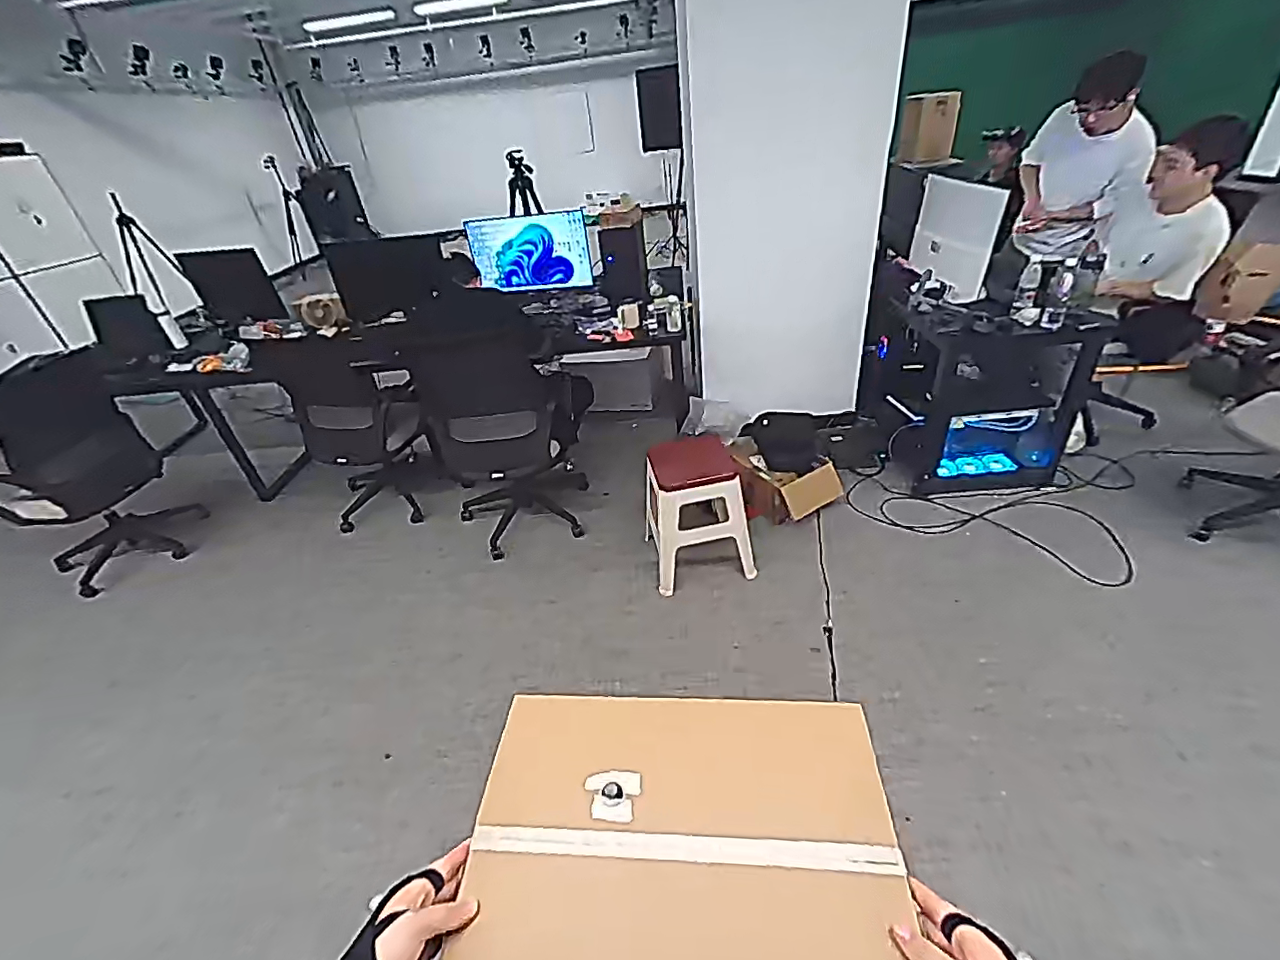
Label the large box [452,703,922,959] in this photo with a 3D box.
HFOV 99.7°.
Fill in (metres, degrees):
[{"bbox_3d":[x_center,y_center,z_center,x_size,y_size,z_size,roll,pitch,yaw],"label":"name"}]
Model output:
[{"bbox_3d":[0.056,0.476,0.606,0.408,0.320,0.320,-3,35,7],"label":"large box"}]
